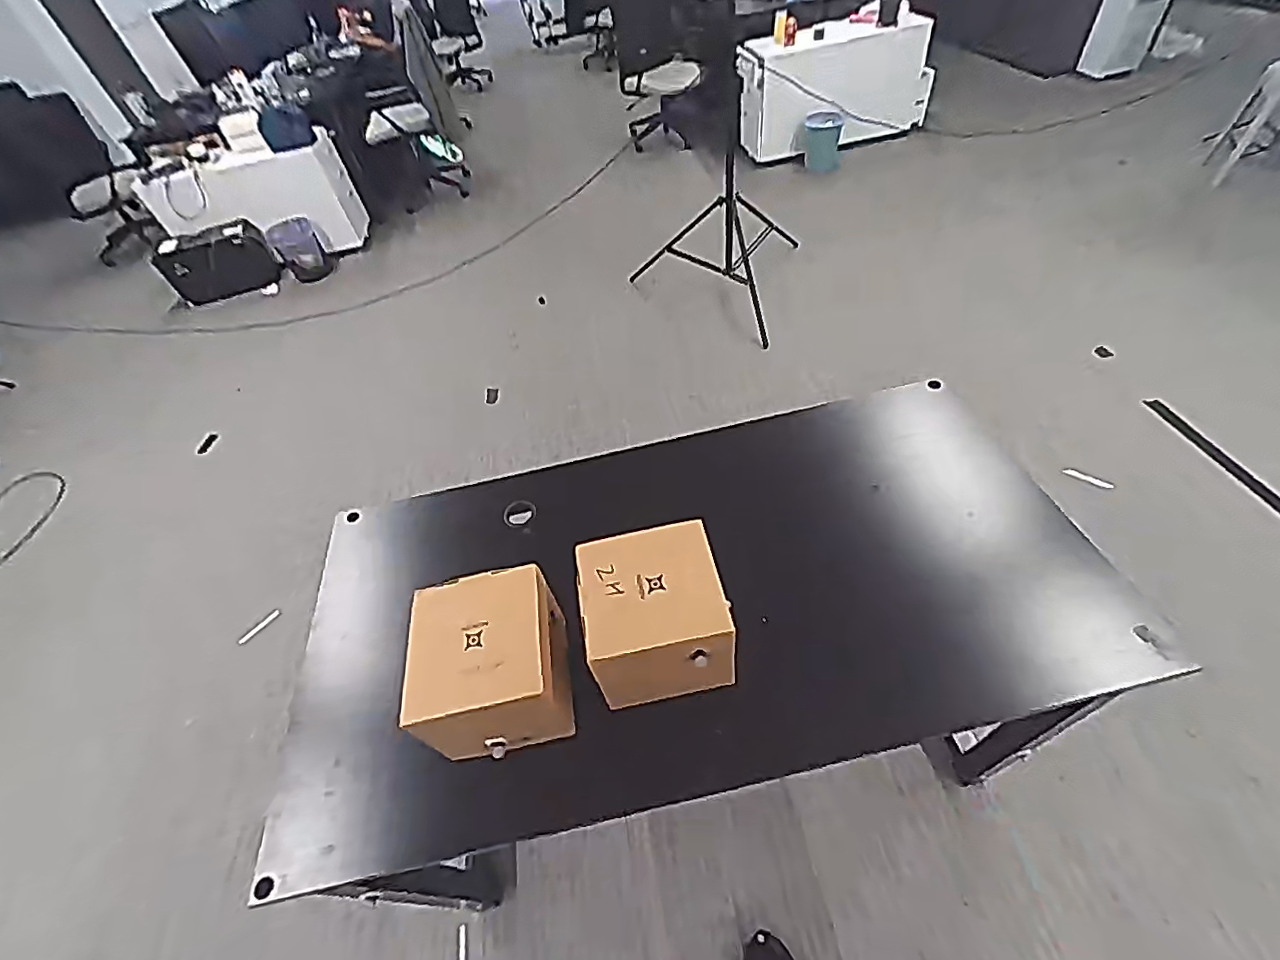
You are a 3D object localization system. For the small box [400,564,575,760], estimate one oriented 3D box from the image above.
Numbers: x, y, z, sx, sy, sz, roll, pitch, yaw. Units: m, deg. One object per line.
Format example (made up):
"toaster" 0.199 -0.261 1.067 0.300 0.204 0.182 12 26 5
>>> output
"small box" -0.190 0.241 0.710 0.168 0.176 0.179 -14 50 -1
